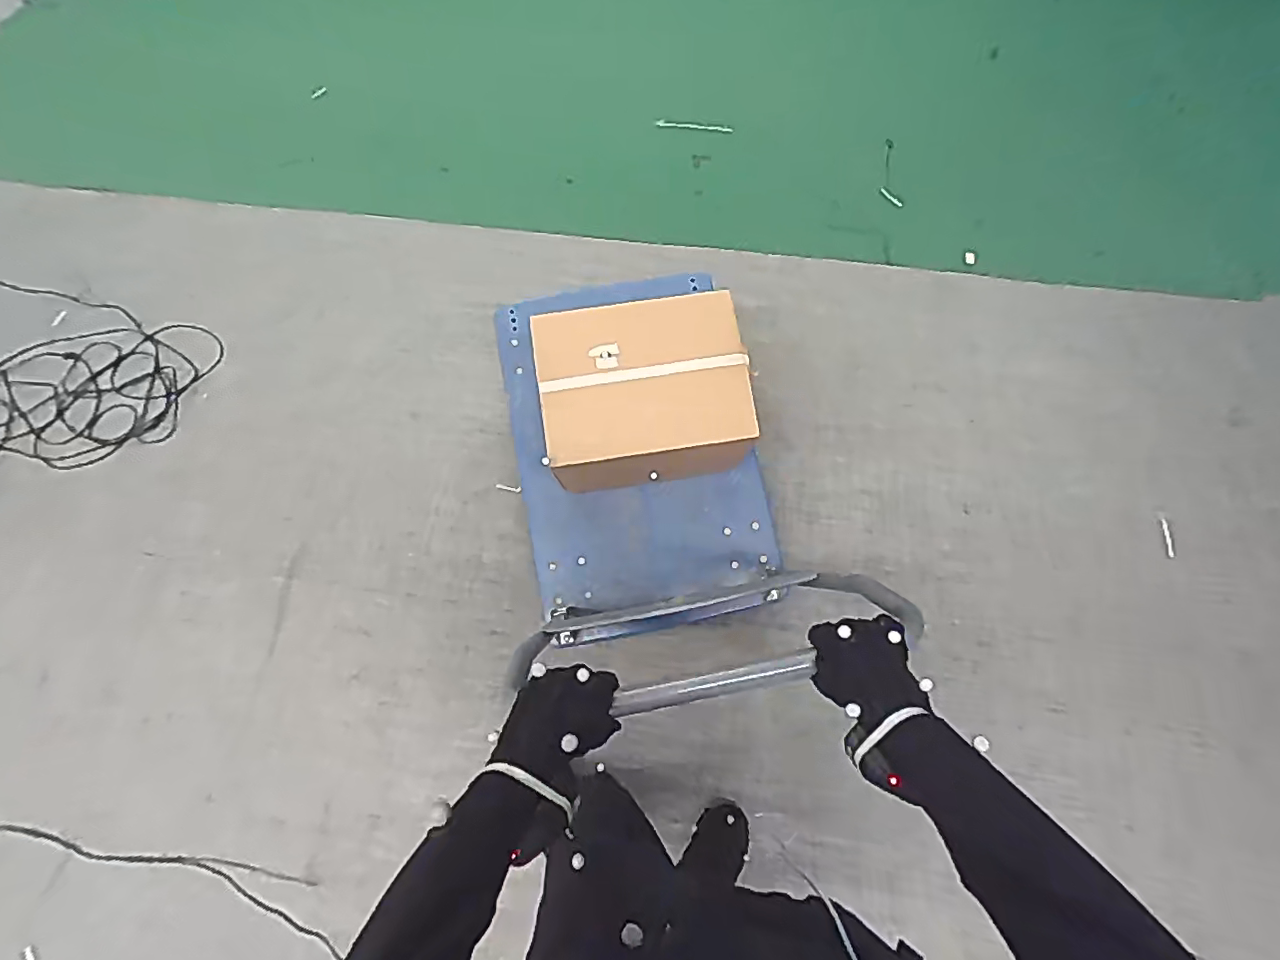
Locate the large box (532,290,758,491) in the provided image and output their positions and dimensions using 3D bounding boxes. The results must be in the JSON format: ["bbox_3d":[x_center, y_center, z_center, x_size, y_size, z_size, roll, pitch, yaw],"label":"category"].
[{"bbox_3d":[0.008,-0.174,1.192,0.408,0.320,0.320,-9,79,-1],"label":"large box"}]
